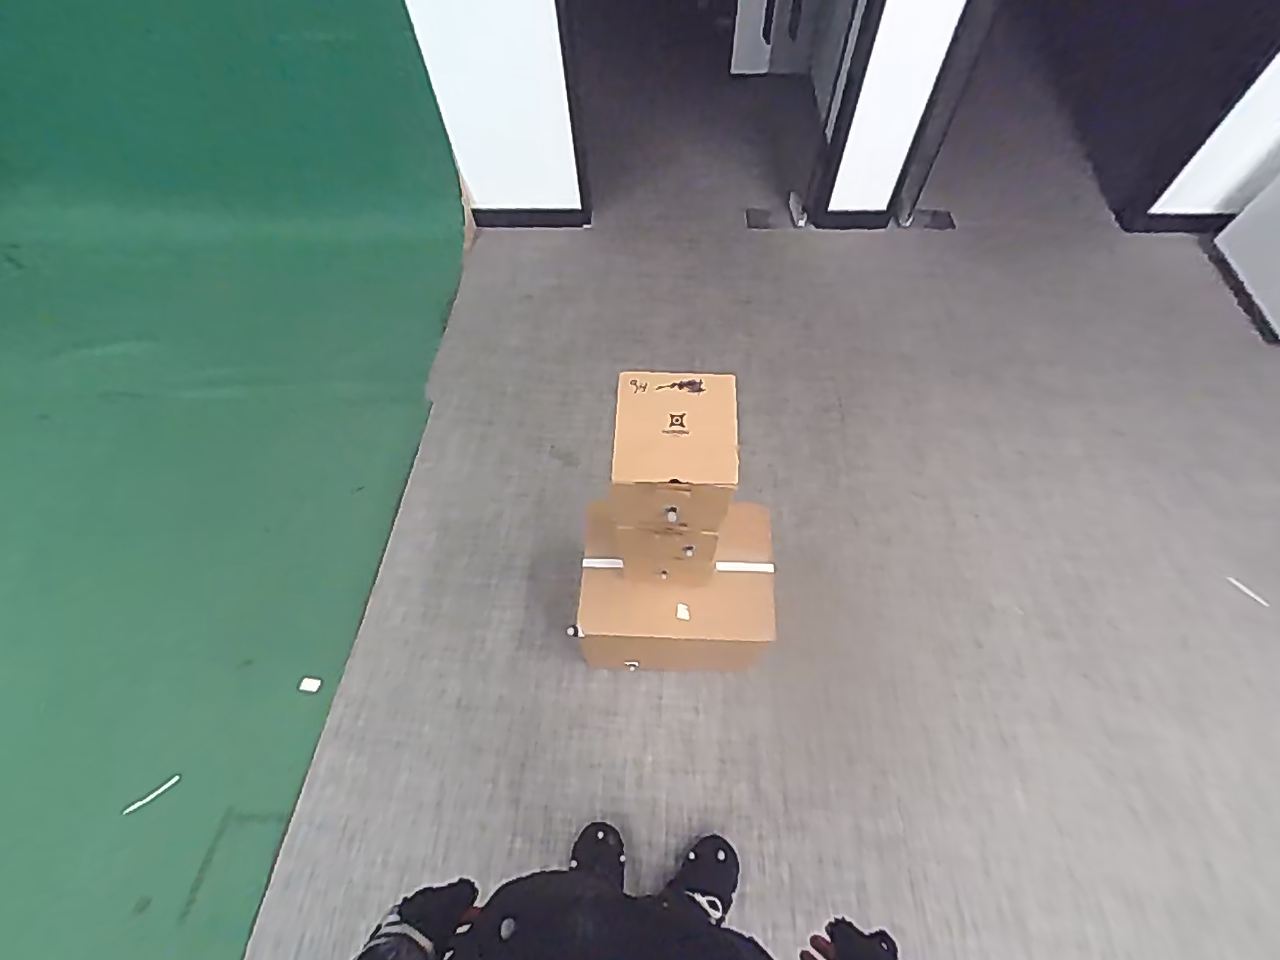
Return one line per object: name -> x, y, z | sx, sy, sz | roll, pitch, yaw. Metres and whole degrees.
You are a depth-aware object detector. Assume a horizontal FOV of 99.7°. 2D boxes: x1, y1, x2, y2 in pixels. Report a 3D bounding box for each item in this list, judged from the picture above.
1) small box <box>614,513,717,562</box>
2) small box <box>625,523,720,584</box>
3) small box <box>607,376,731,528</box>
small box -> 0.049, 0.038, 0.954 | 0.168, 0.176, 0.179 | 2, 64, 3
small box -> 0.065, 0.111, 1.097 | 0.179, 0.176, 0.168 | 2, 66, 3
small box -> 0.045, -0.035, 0.807 | 0.168, 0.176, 0.179 | 2, 66, 2
